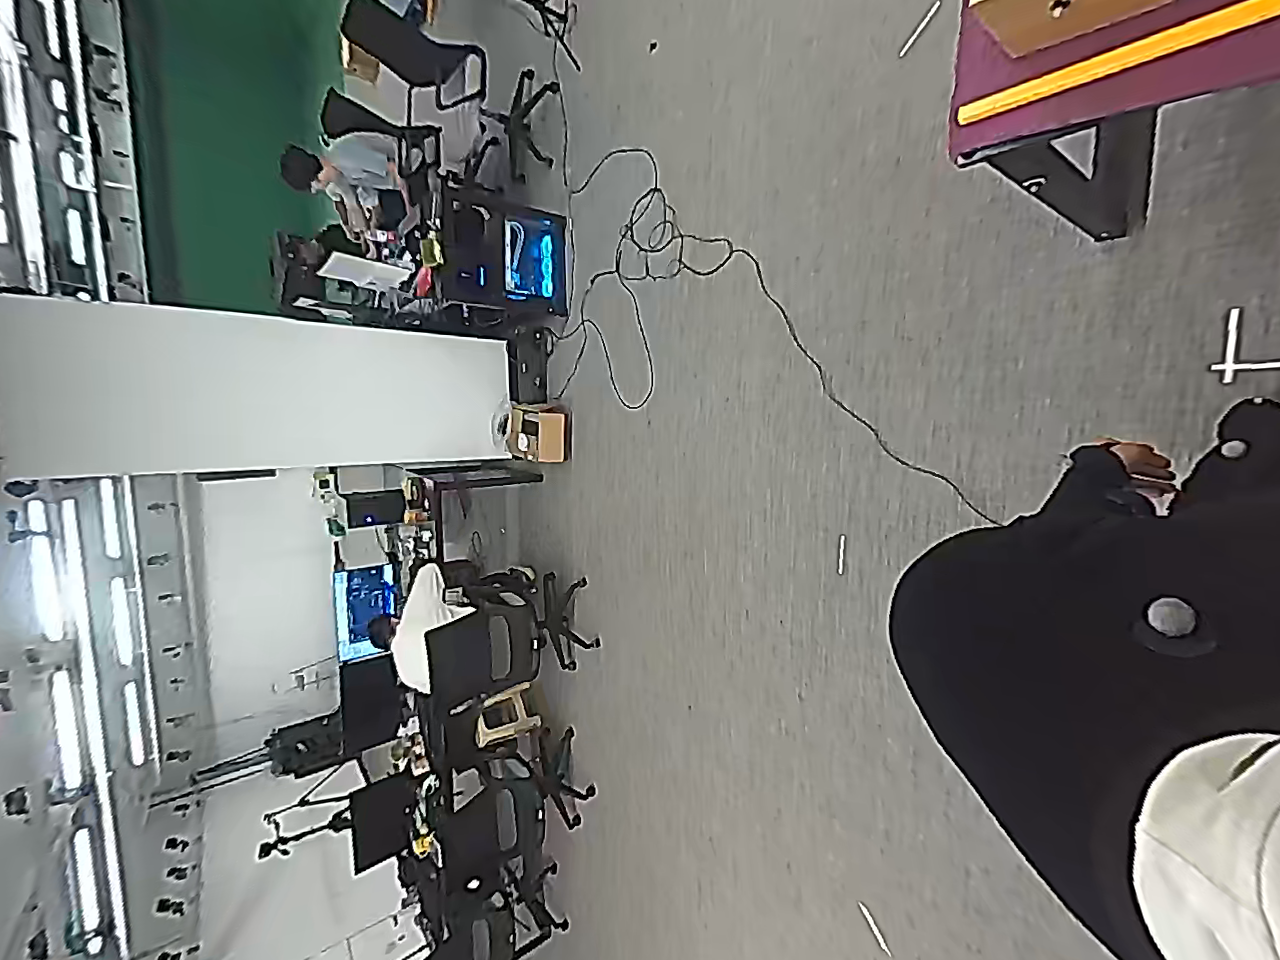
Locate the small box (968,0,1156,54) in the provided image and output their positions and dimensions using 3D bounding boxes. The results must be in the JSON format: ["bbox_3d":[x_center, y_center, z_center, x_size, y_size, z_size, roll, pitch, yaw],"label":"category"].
[{"bbox_3d":[0.536,-0.665,0.651,0.179,0.176,0.168,17,108,50],"label":"small box"}]
